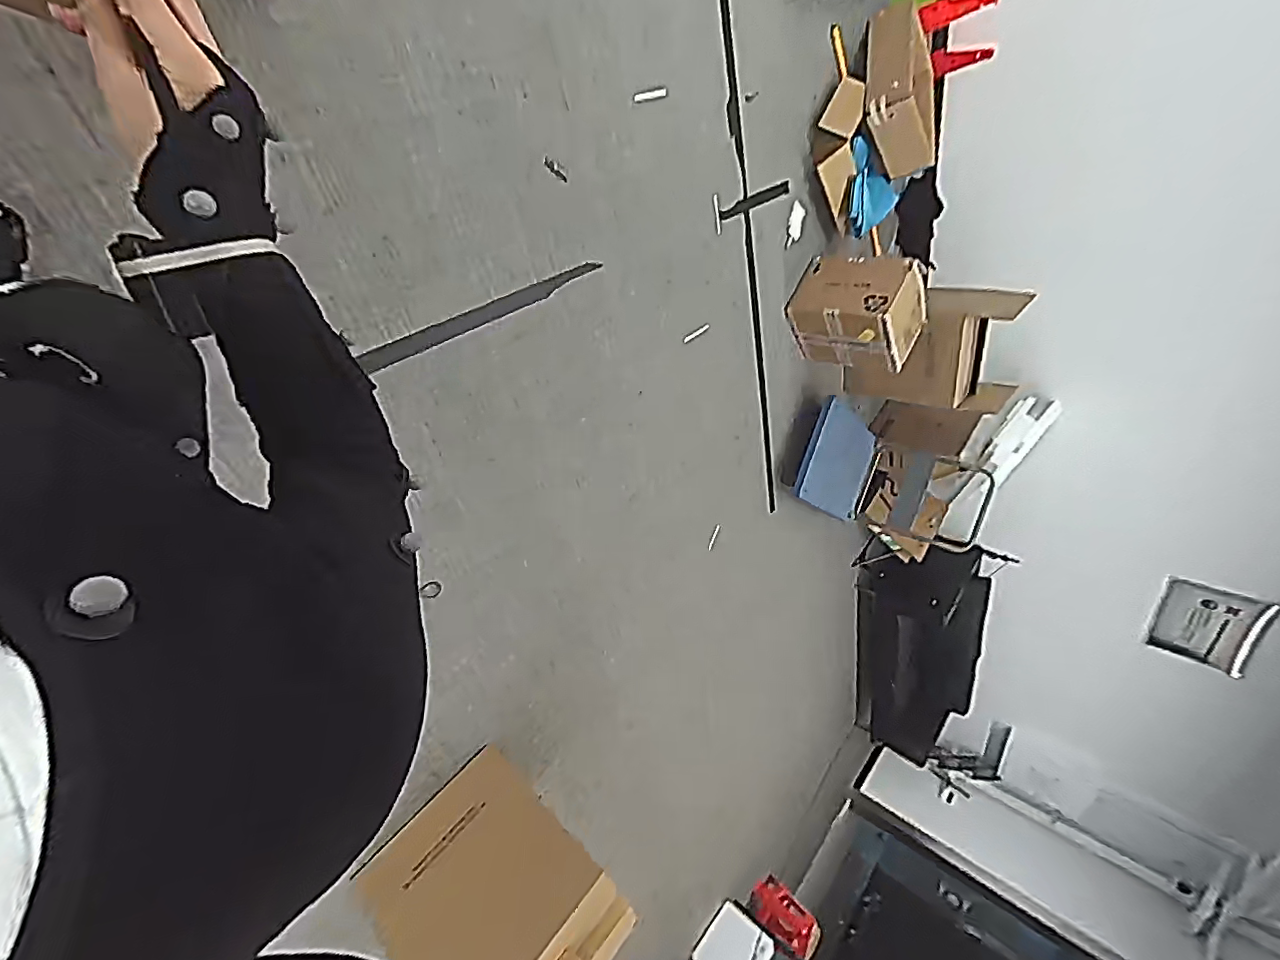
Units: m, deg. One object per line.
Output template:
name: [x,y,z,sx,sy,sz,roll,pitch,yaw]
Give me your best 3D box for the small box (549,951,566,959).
small box: [-0.206,1.395,1.402,0.179,0.176,0.168,-40,132,-32]
